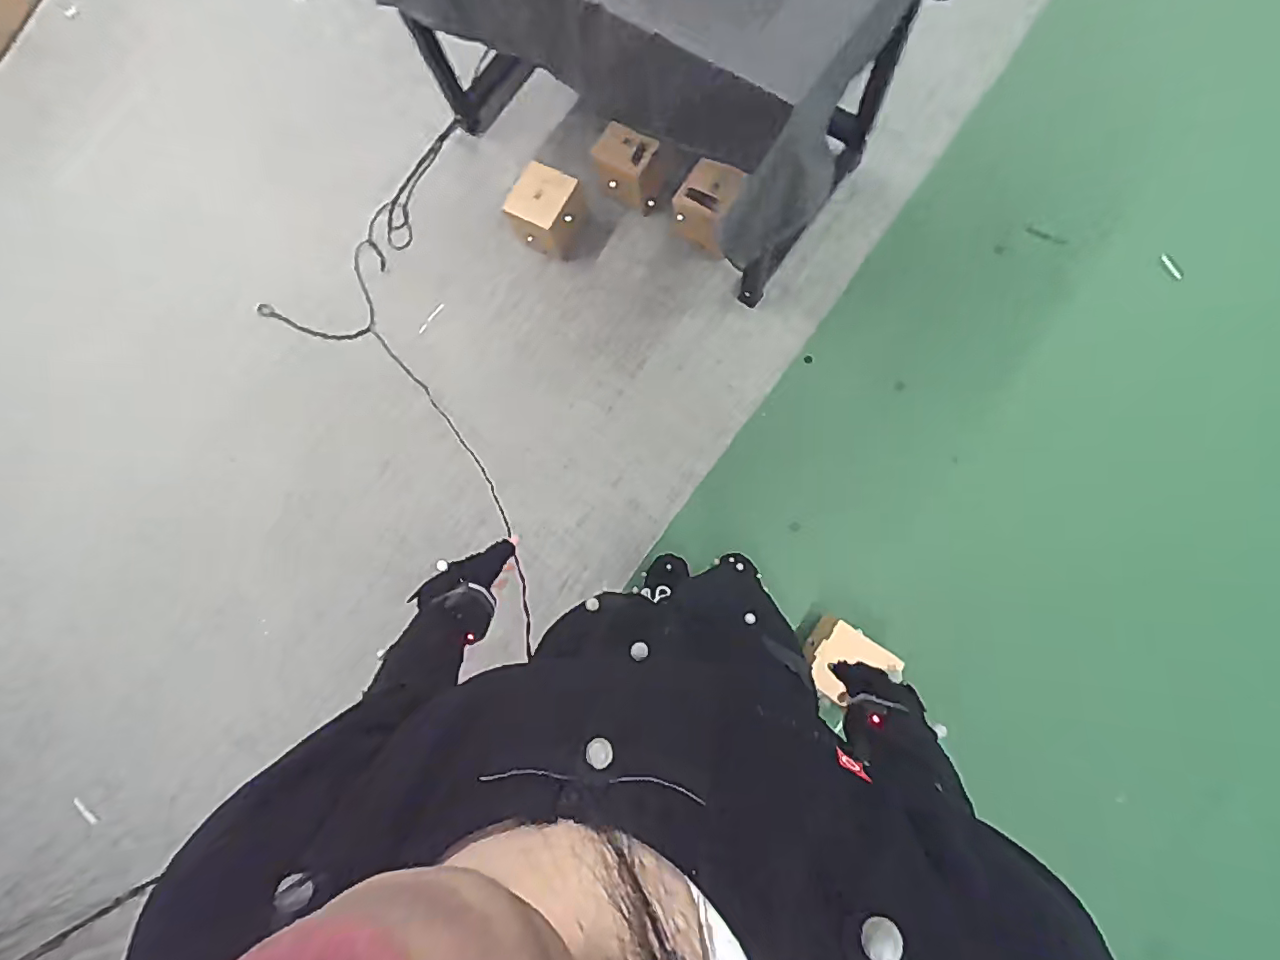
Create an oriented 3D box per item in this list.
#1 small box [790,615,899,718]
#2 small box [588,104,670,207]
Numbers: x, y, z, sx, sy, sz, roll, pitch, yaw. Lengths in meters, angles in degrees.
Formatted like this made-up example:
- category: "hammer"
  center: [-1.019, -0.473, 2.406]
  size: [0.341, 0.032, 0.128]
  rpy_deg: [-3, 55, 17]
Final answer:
- category: "small box"
  center: [0.494, 0.451, 1.338]
  size: [0.179, 0.176, 0.168]
  rpy_deg: [34, 86, 11]
- category: "small box"
  center: [-0.023, -0.954, 1.608]
  size: [0.179, 0.176, 0.168]
  rpy_deg: [34, 86, 11]
